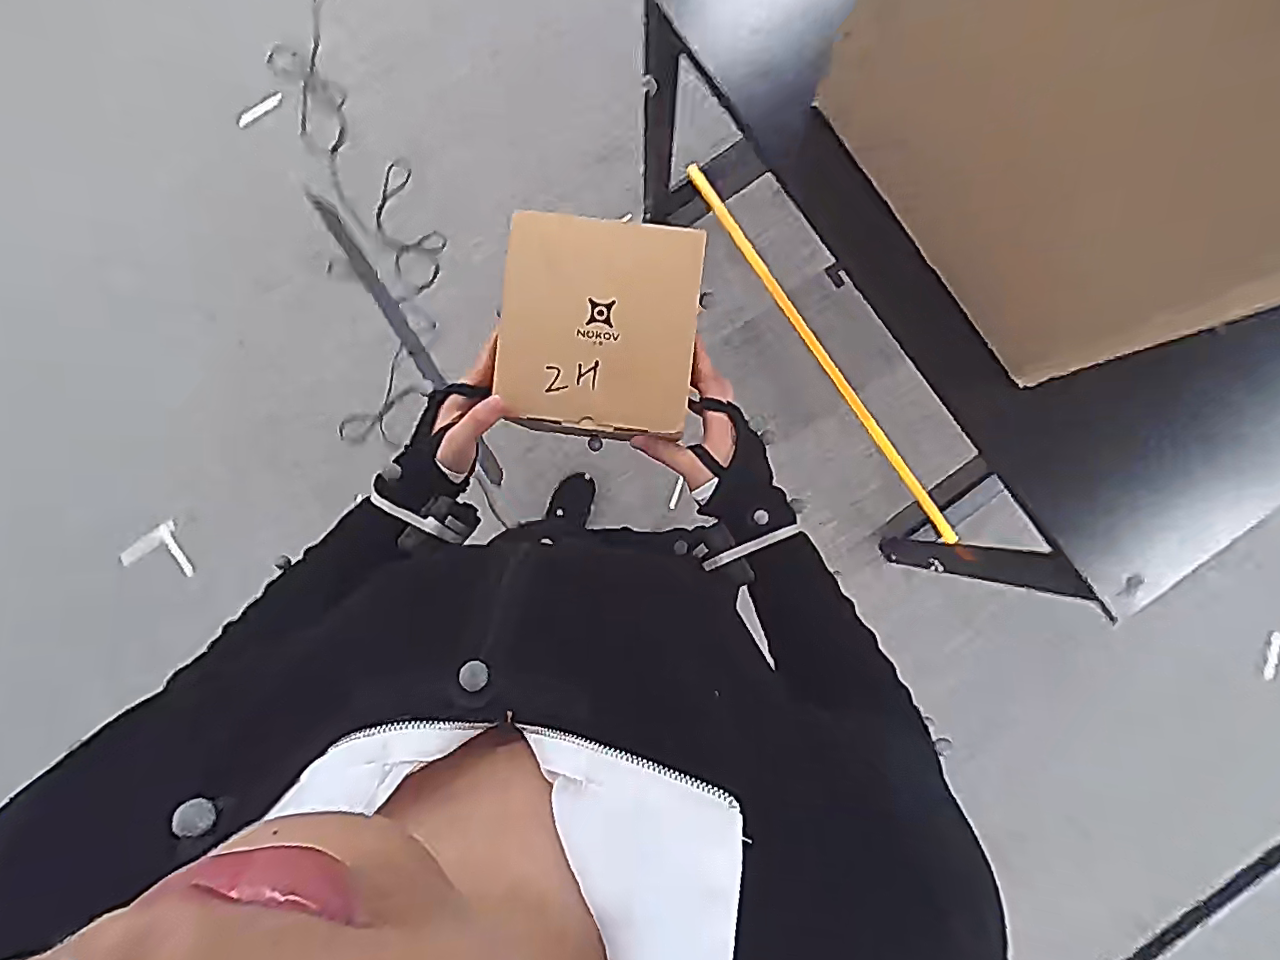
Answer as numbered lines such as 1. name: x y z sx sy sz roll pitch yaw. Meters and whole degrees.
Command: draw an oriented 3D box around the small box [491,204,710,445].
1. small box: -0.033 -0.134 0.530 0.168 0.176 0.179 7 90 1
